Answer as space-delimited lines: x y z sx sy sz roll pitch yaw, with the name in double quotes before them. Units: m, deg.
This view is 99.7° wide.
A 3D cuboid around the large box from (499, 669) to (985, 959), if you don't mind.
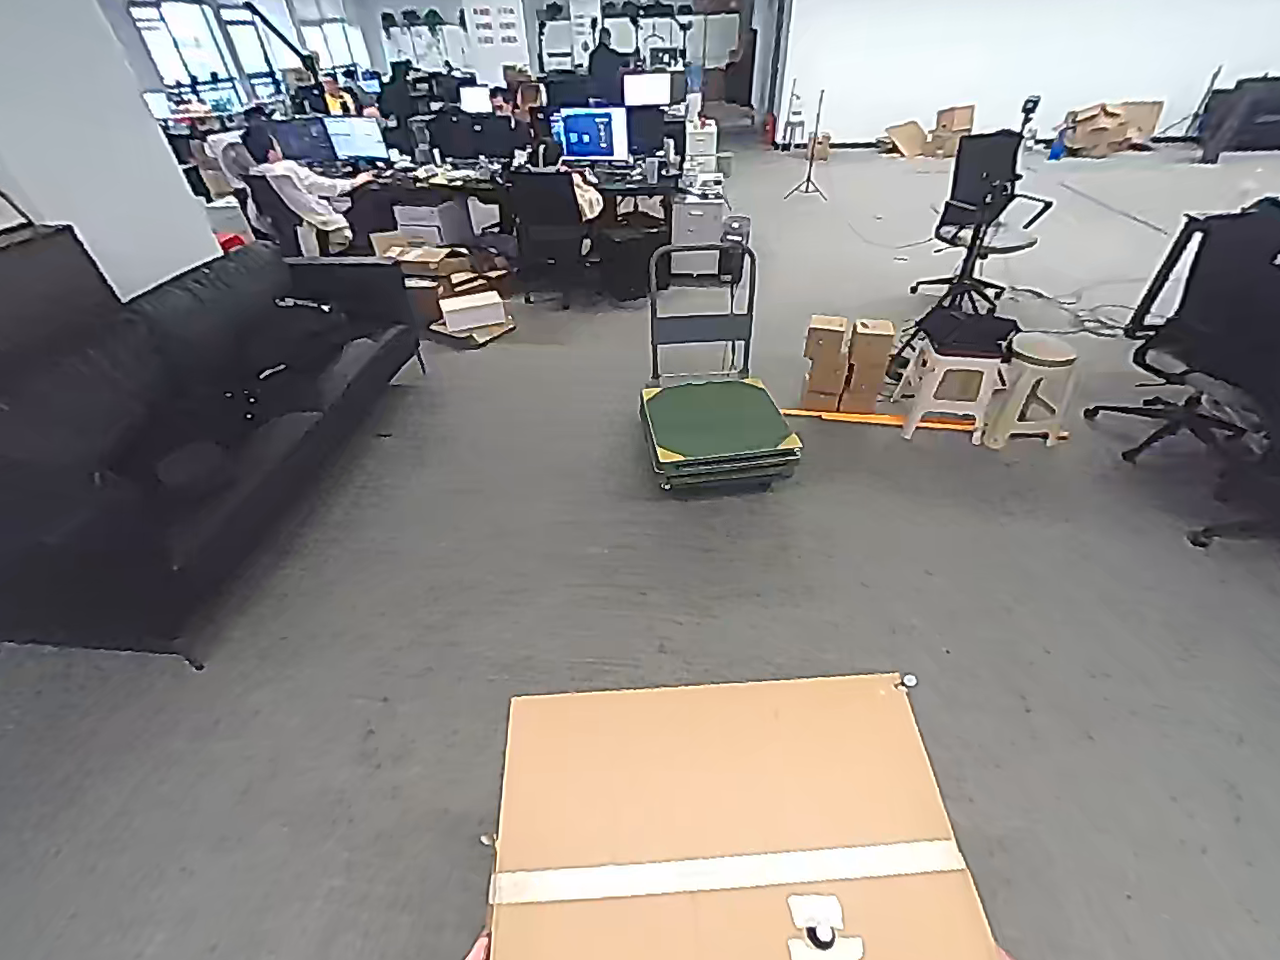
"large box" 0.077 0.426 0.598 0.408 0.320 0.320 -3 54 -2
